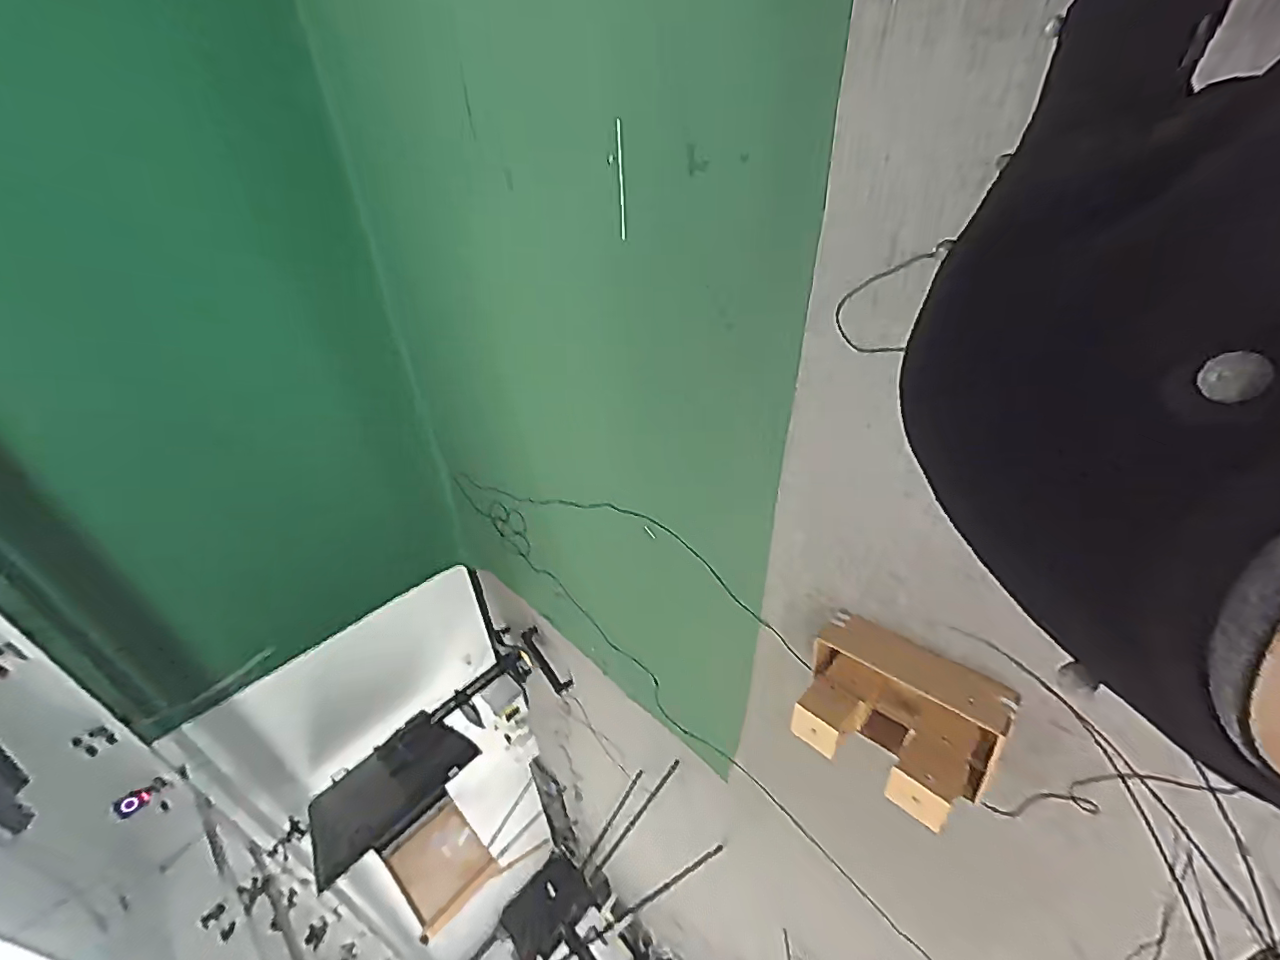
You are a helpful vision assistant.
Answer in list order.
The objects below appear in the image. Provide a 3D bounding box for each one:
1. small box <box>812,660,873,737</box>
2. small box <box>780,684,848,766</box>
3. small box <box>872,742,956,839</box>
[{"bbox_3d":[0.754,0.816,2.042,0.179,0.176,0.168,25,132,36],"label":"small box"},{"bbox_3d":[0.629,0.877,1.952,0.168,0.176,0.179,27,133,37],"label":"small box"},{"bbox_3d":[0.882,0.989,1.738,0.179,0.176,0.168,27,131,37],"label":"small box"}]
